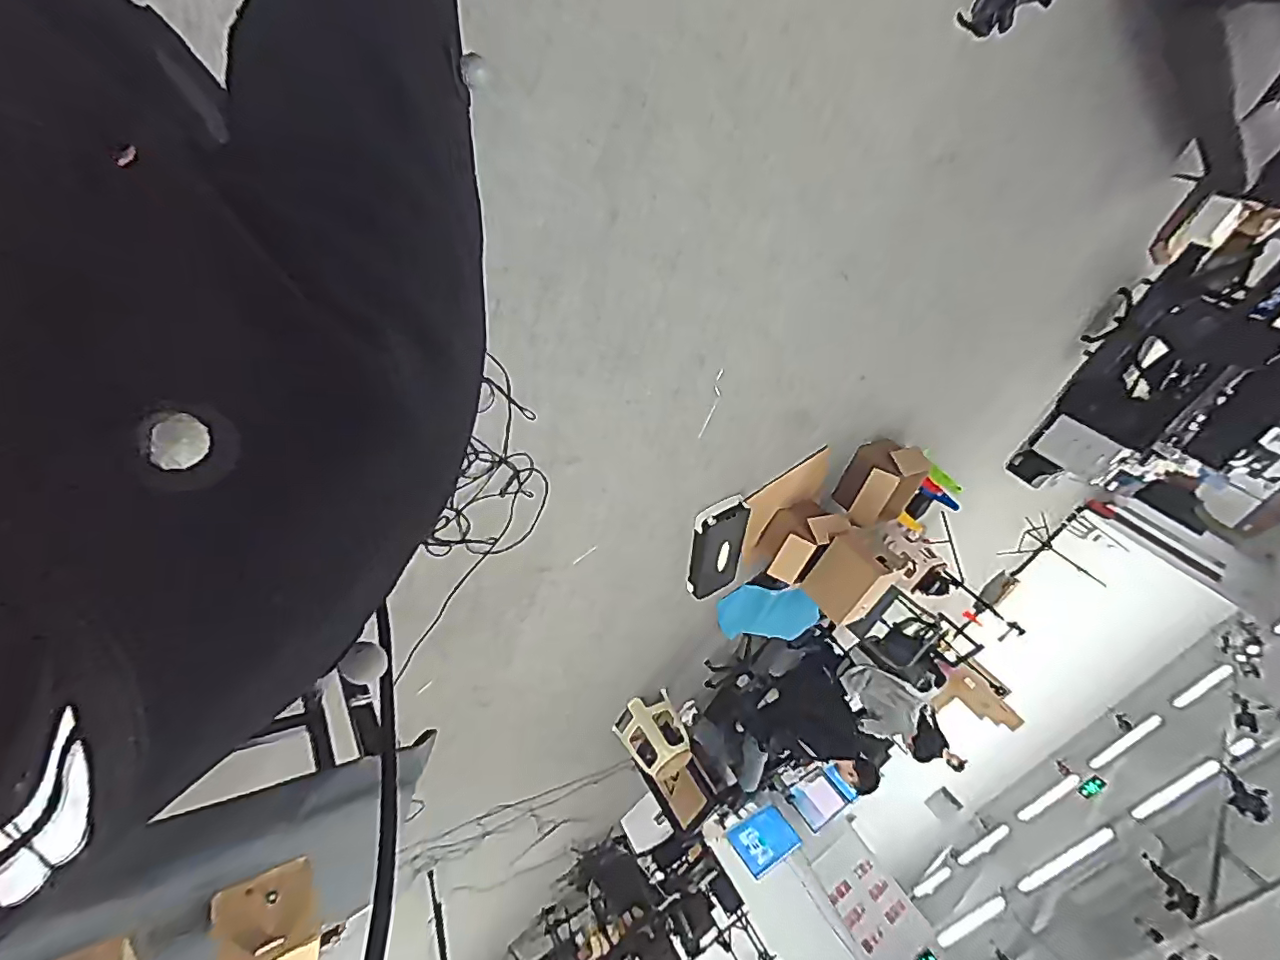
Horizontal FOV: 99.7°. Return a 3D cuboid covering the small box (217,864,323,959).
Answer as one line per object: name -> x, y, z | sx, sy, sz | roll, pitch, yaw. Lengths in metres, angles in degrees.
small box -> -0.763, 0.943, 1.116 | 0.168, 0.176, 0.179 | -6, 130, -38
